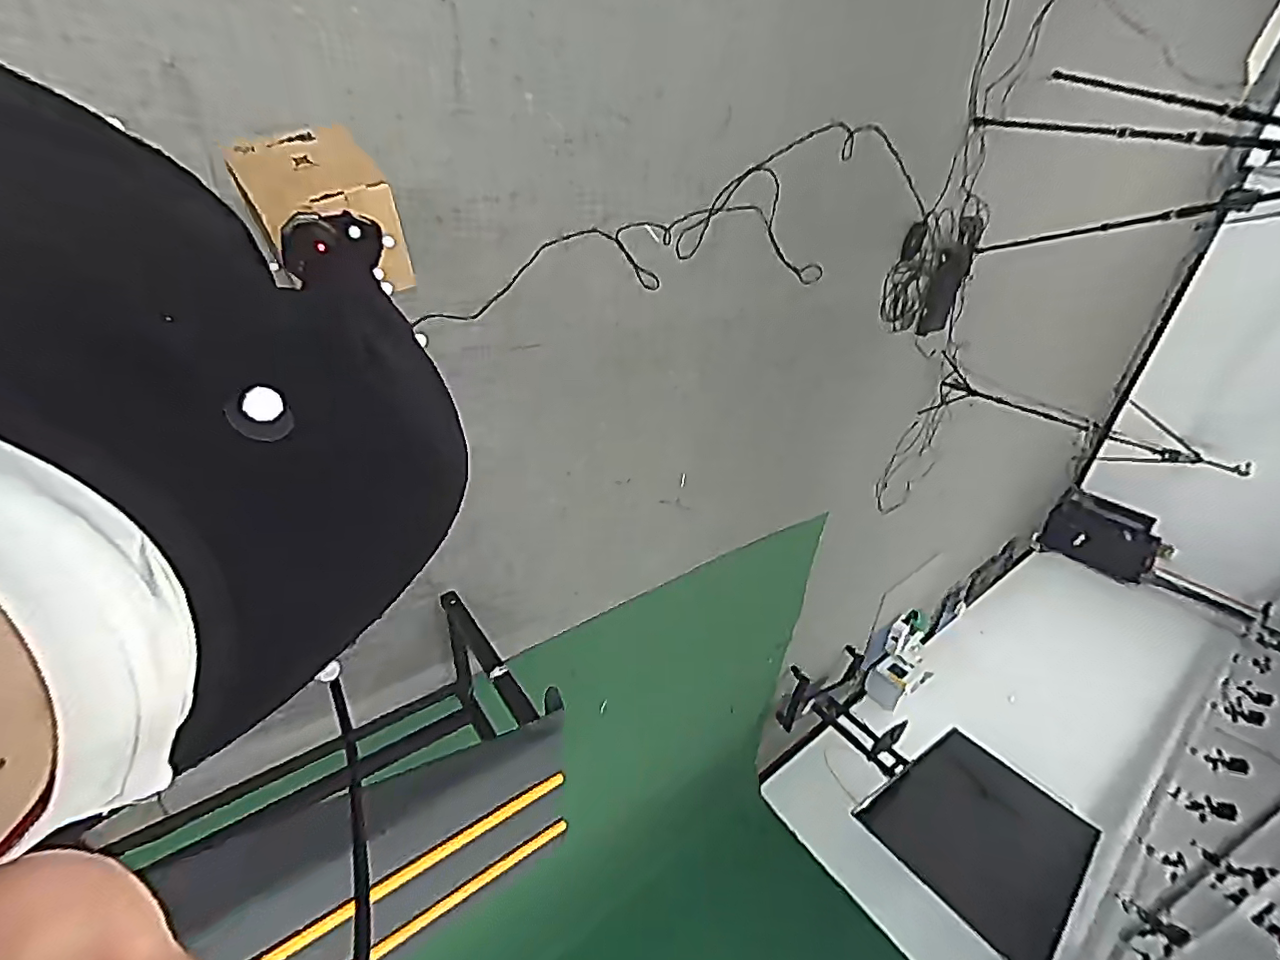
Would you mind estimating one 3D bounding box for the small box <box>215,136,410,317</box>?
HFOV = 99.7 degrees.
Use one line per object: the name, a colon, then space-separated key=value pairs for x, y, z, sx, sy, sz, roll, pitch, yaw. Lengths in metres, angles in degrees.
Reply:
small box: x=-0.470 y=-0.366 z=0.801 sx=0.168 sy=0.179 sz=0.176 roll=-32 pitch=155 yaw=-23
